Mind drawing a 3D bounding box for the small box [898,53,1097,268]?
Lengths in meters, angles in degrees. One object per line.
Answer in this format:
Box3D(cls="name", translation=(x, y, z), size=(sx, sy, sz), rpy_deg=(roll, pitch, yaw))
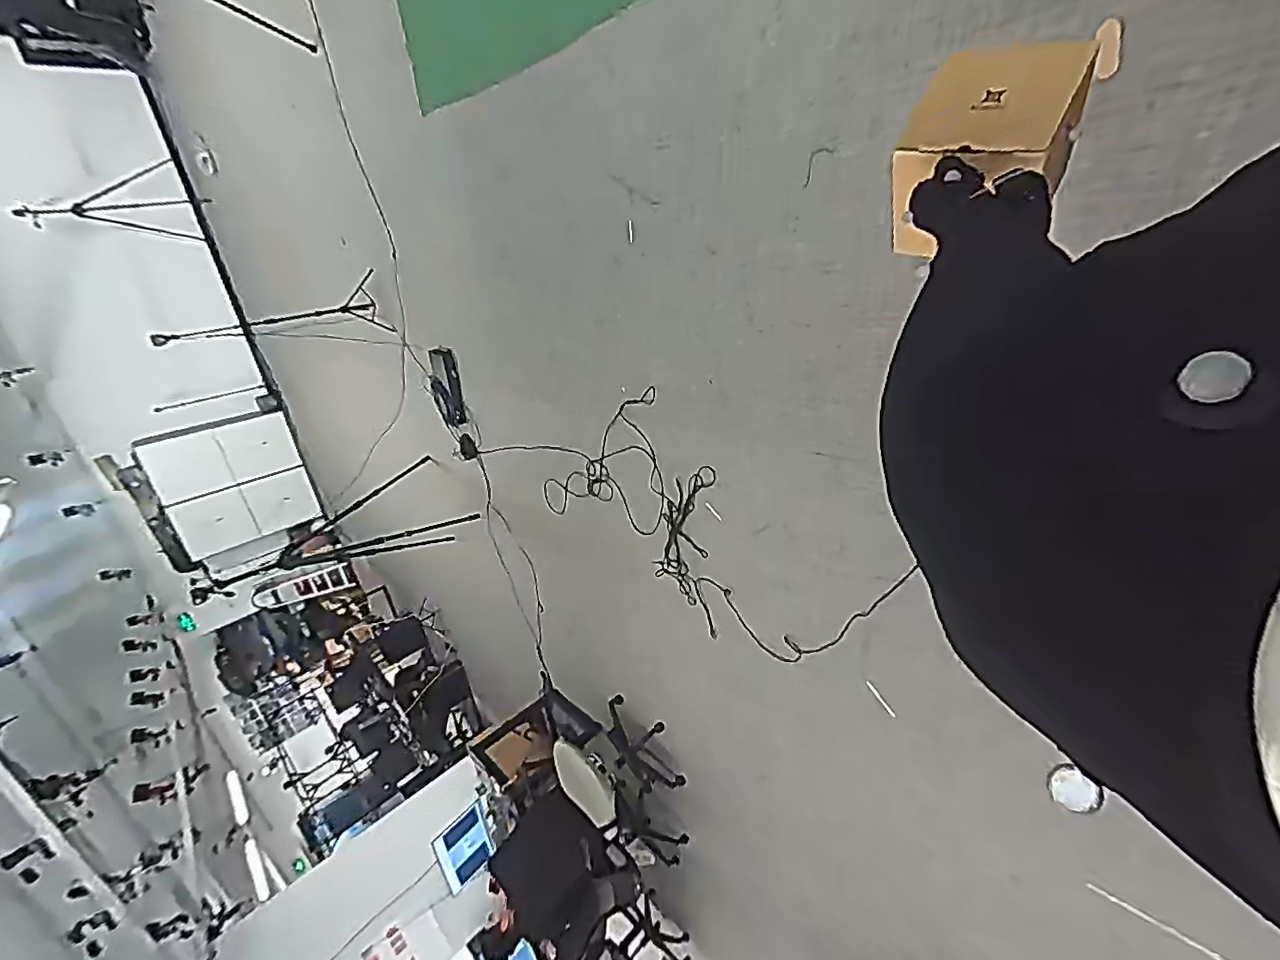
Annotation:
Box3D(cls="small box", translation=(0.460, -0.418, 0.722), size=(0.168, 0.179, 0.176), rpy_deg=(23, 166, 33))
